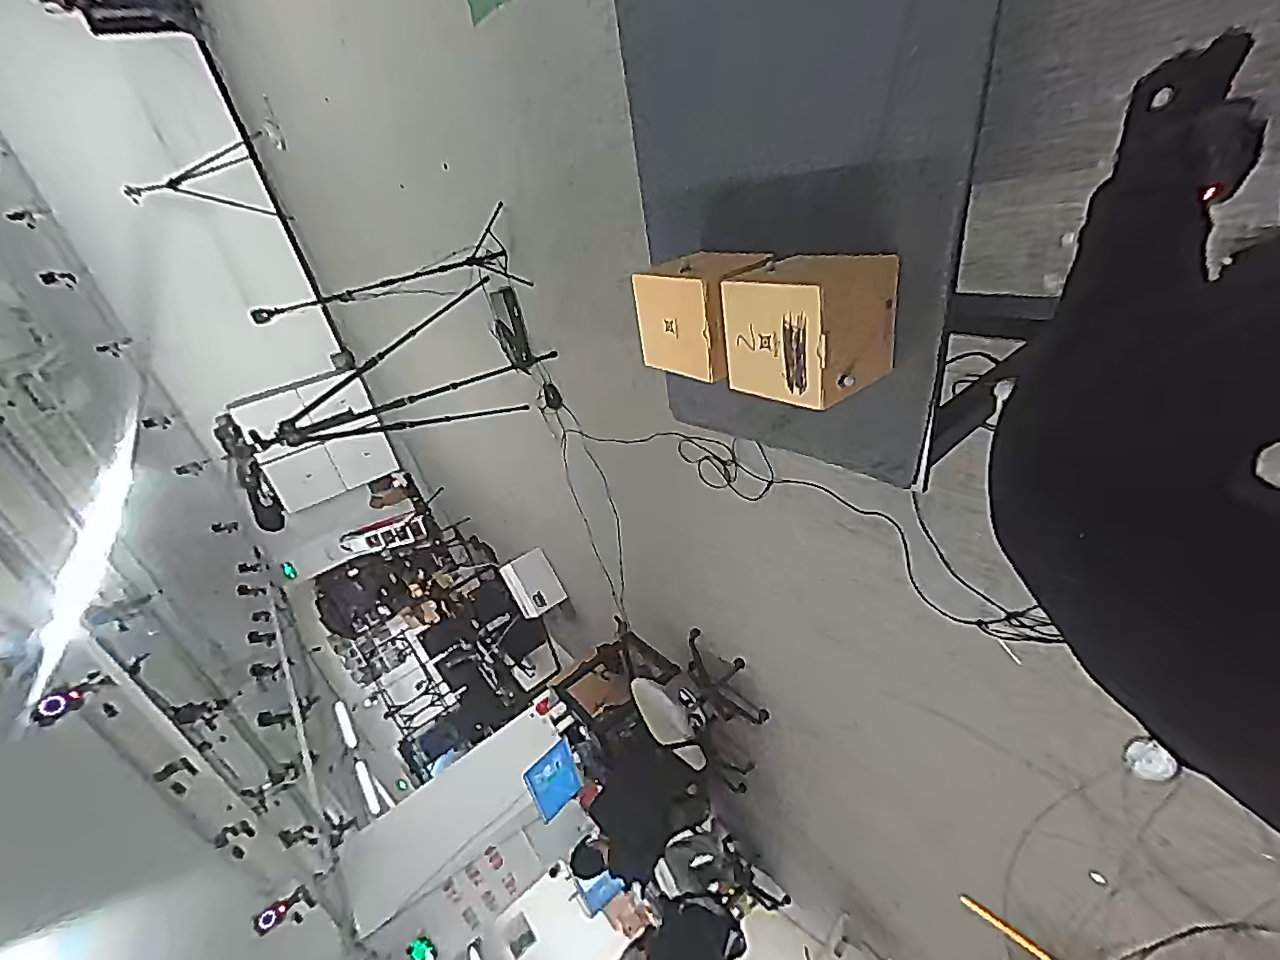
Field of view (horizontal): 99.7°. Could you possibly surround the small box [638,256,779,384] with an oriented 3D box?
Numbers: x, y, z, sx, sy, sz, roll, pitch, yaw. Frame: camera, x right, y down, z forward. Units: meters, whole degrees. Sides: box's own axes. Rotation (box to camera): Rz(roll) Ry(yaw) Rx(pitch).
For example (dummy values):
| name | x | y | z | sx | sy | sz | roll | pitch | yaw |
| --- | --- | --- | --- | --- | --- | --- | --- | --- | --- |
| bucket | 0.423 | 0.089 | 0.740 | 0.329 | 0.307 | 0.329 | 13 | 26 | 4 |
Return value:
| name | x | y | z | sx | sy | sz | roll | pitch | yaw |
| --- | --- | --- | --- | --- | --- | --- | --- | --- | --- |
| small box | 0.122 | -0.287 | 0.948 | 0.179 | 0.176 | 0.168 | 26 | 136 | 45 |
